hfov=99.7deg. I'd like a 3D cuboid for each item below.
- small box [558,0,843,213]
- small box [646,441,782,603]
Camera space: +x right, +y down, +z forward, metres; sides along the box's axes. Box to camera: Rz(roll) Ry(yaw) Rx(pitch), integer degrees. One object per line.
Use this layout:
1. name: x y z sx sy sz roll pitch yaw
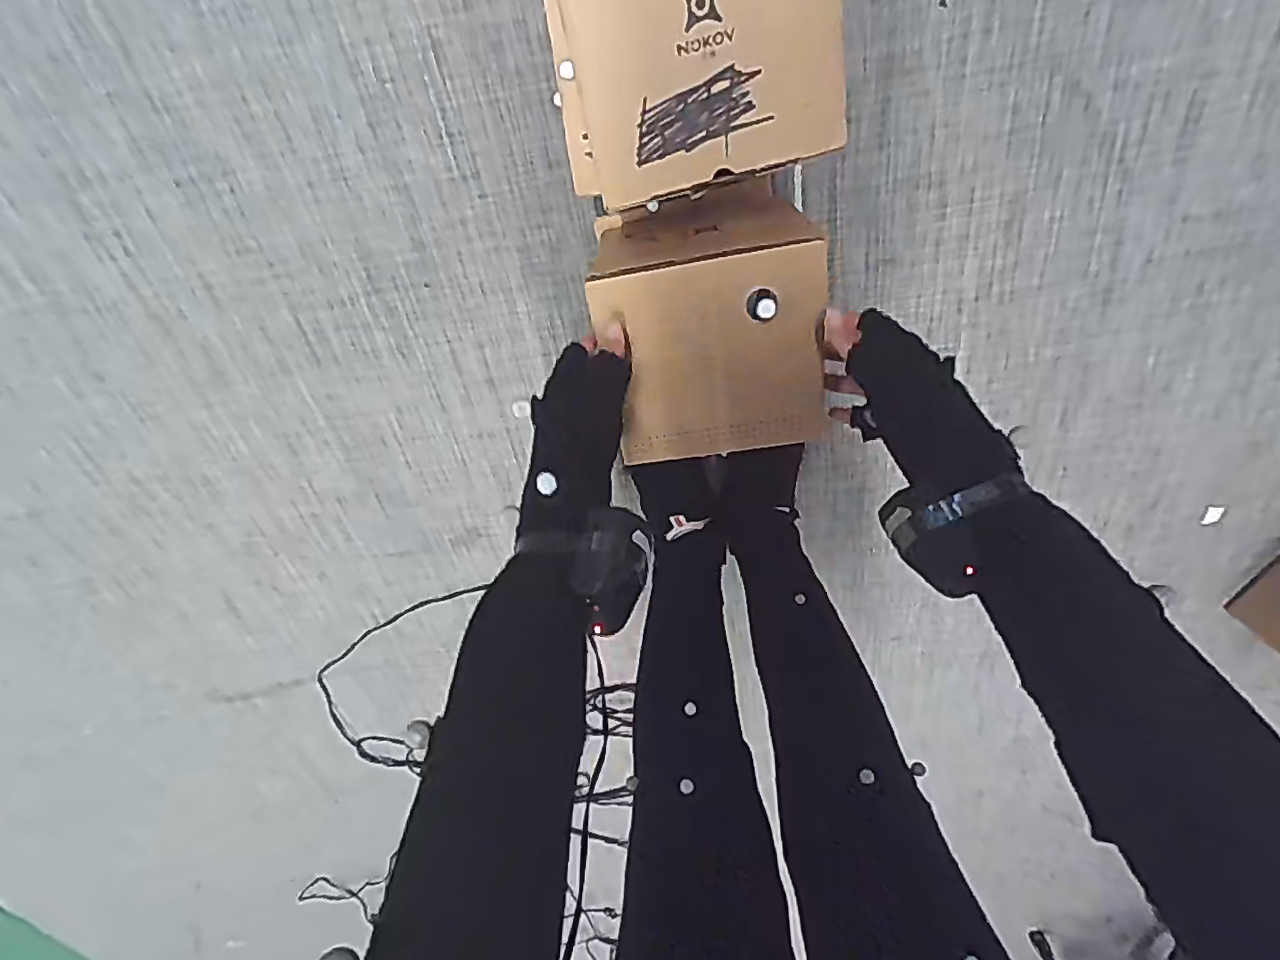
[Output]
1. small box: 0.039 -0.313 0.396 0.168 0.176 0.179 -11 117 7
2. small box: 0.104 0.060 0.833 0.168 0.176 0.179 -8 123 -6
